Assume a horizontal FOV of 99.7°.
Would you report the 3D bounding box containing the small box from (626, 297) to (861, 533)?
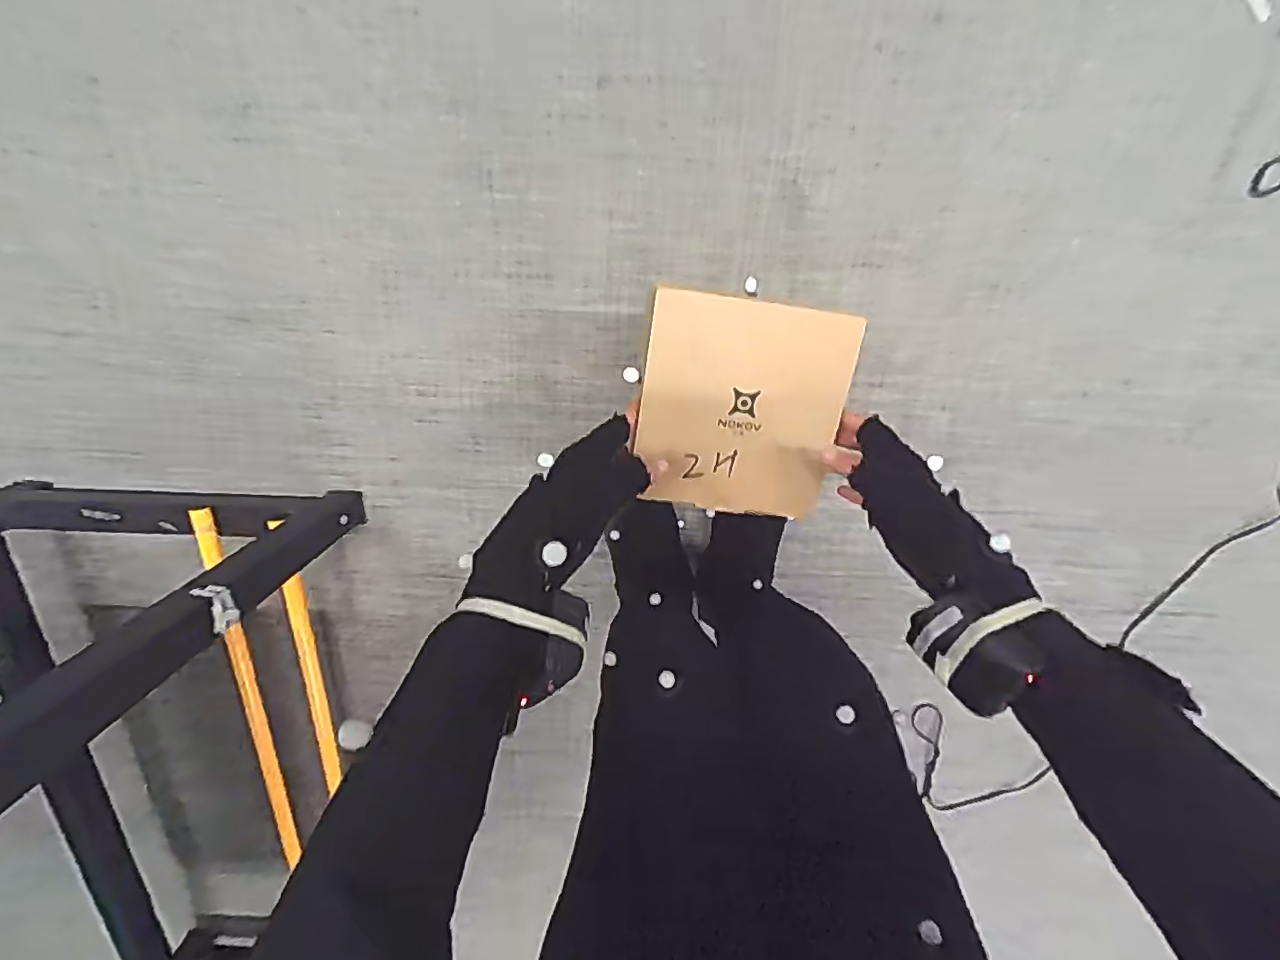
[{"bbox_3d":[0.077,-0.072,0.512,0.168,0.176,0.179,7,111,-4],"label":"small box"}]
